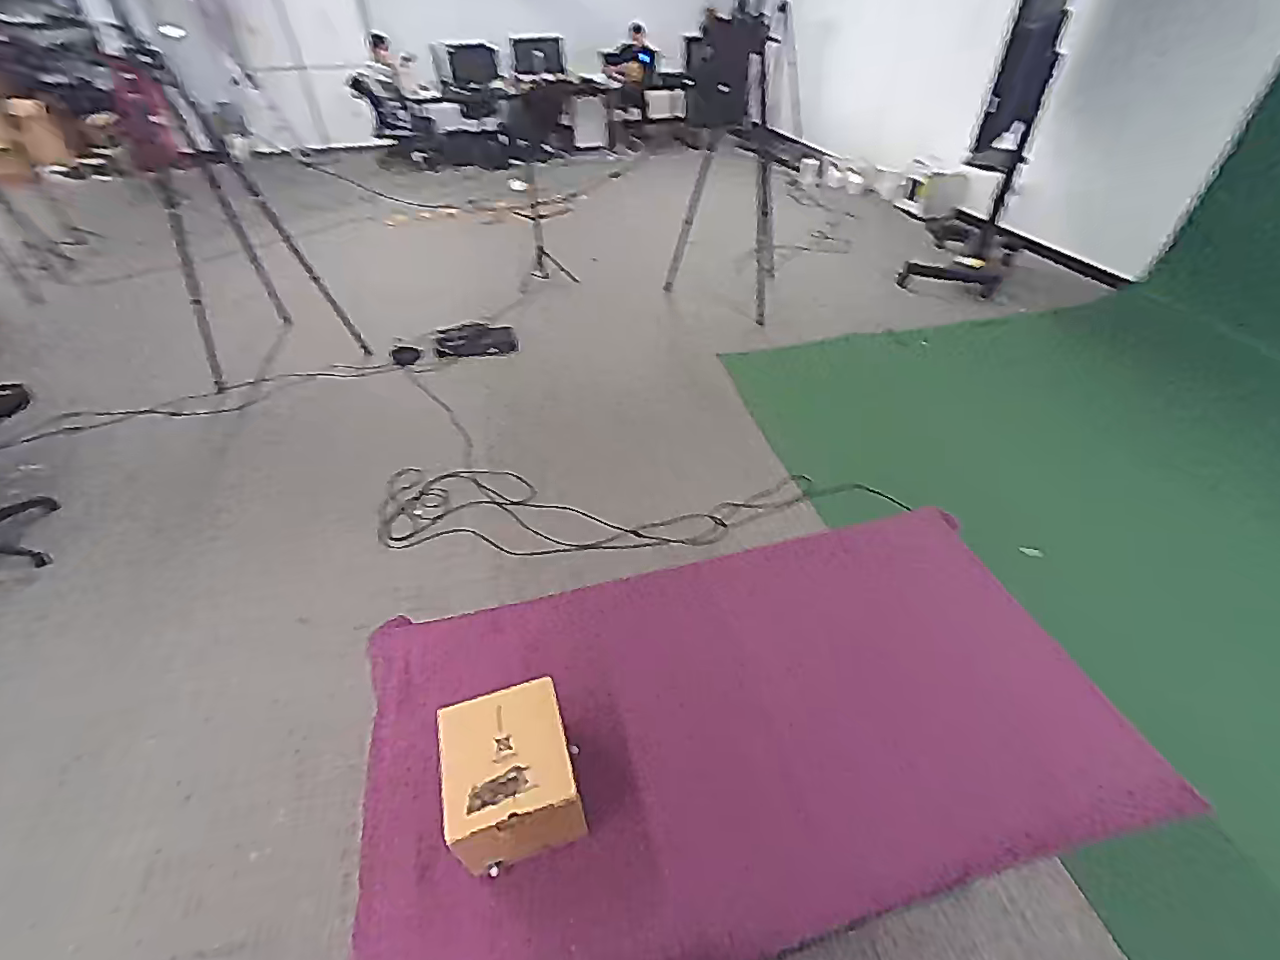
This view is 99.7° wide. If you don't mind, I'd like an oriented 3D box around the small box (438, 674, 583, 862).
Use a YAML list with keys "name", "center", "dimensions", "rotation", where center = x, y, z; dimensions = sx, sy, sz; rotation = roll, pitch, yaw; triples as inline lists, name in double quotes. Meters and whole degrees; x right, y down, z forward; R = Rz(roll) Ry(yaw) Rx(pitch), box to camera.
- name: "small box"
  center: [-0.184, 0.420, 0.783]
  dimensions: [0.168, 0.176, 0.179]
  rotation: [-13, 43, -13]
